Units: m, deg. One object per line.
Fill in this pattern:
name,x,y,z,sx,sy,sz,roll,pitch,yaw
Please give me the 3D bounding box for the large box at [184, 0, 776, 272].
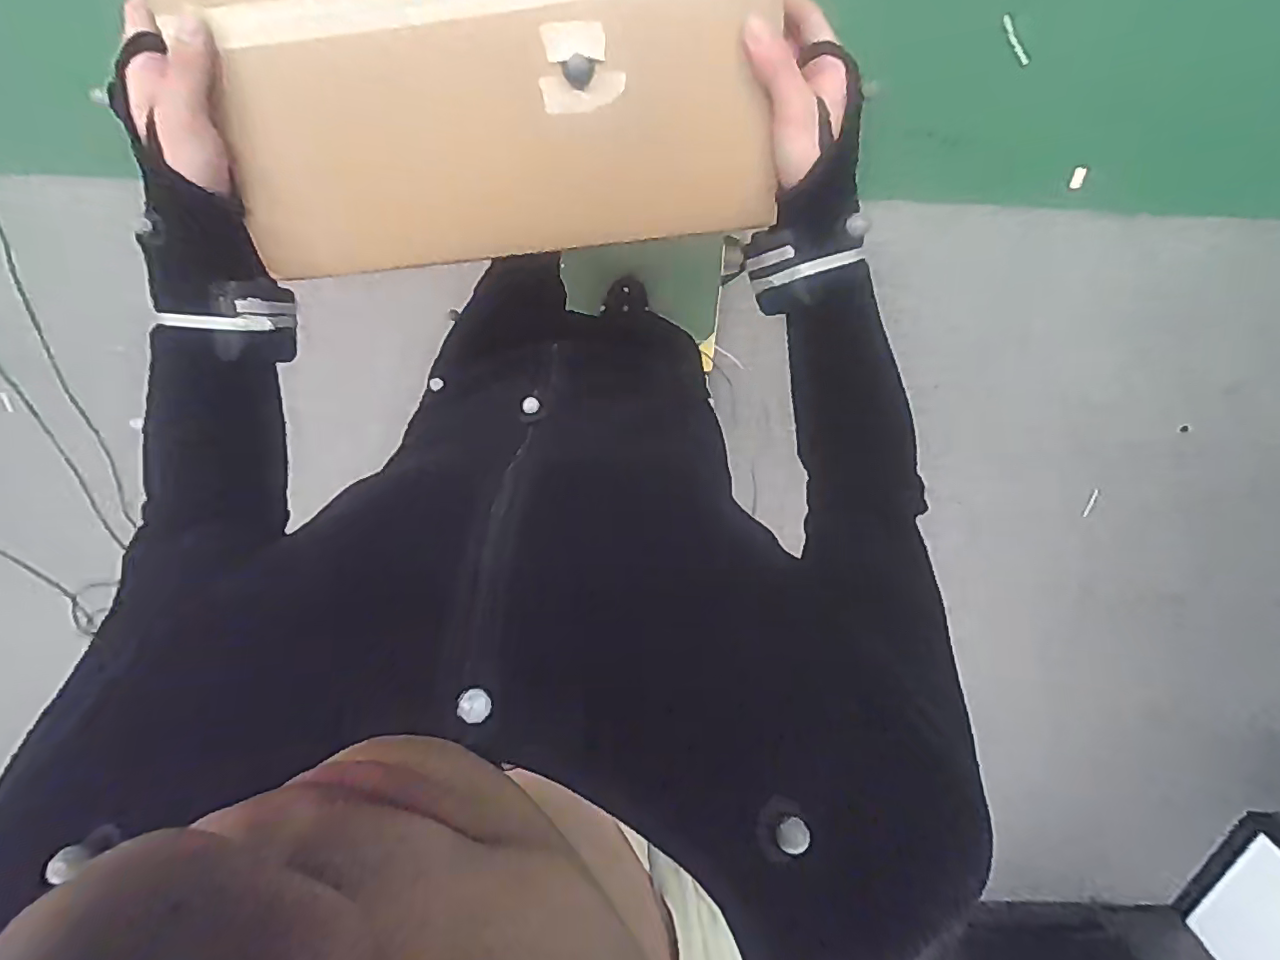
large box,-0.112,-0.396,0.492,0.408,0.320,0.320,-6,120,1
